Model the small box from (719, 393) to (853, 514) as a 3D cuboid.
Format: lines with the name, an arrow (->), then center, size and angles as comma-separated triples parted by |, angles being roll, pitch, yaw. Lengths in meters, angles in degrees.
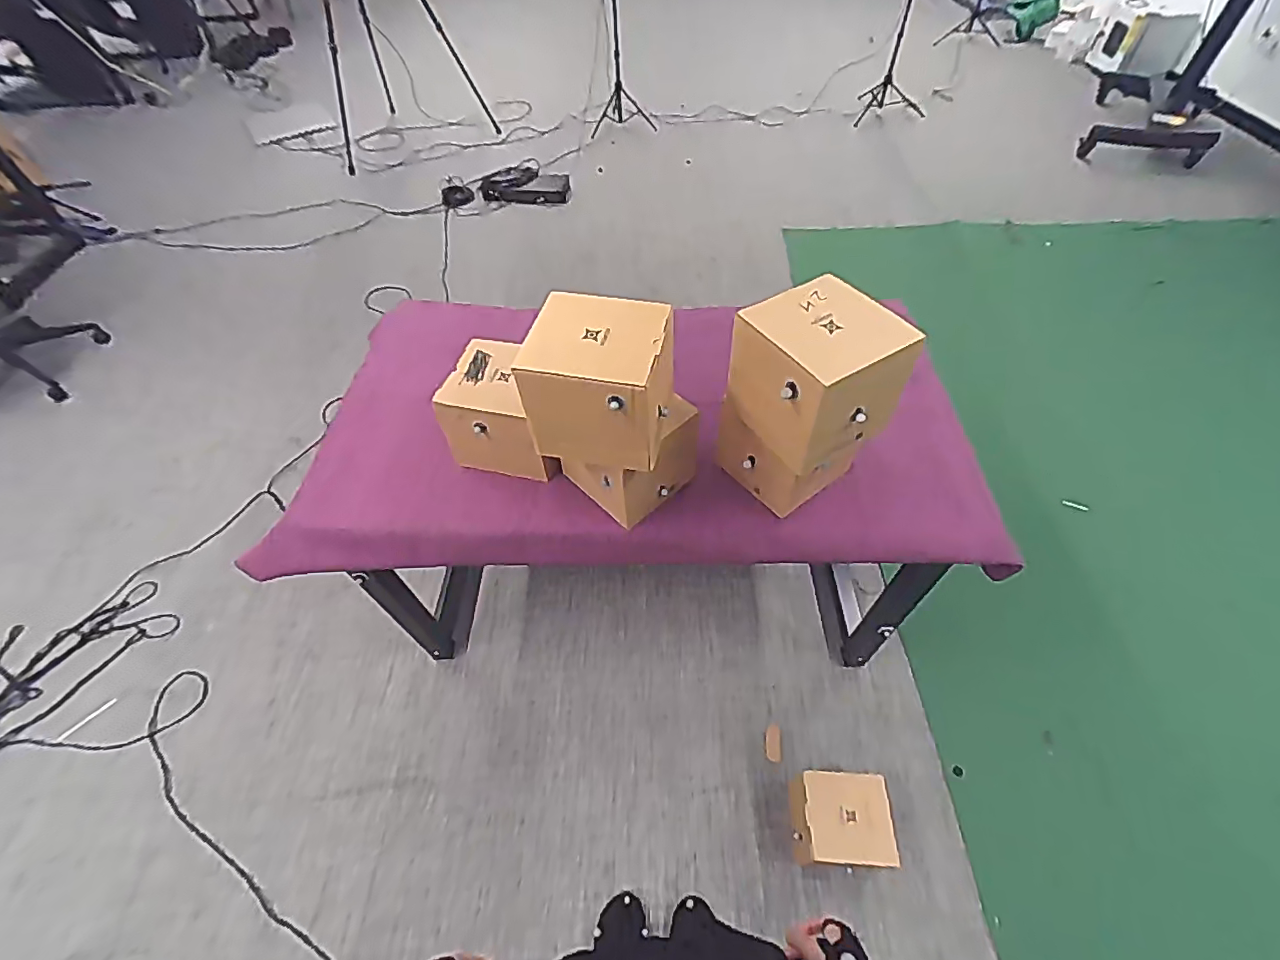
small box -> 0.249, -0.074, 0.909 | 0.179, 0.176, 0.168 | -33, 58, -20

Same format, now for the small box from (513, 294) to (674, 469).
small box -> -0.054, -0.135, 0.761 | 0.179, 0.176, 0.168 | 10, 54, 8

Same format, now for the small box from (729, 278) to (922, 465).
small box -> 0.242, -0.144, 0.755 | 0.168, 0.176, 0.179 | -26, 54, -17

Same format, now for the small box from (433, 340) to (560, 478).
small box -> -0.229, -0.122, 0.962 | 0.179, 0.176, 0.168 | 11, 54, 9

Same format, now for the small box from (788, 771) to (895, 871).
small box -> 0.430, 0.754, 1.191 | 0.179, 0.176, 0.168 | 2, 53, 3
